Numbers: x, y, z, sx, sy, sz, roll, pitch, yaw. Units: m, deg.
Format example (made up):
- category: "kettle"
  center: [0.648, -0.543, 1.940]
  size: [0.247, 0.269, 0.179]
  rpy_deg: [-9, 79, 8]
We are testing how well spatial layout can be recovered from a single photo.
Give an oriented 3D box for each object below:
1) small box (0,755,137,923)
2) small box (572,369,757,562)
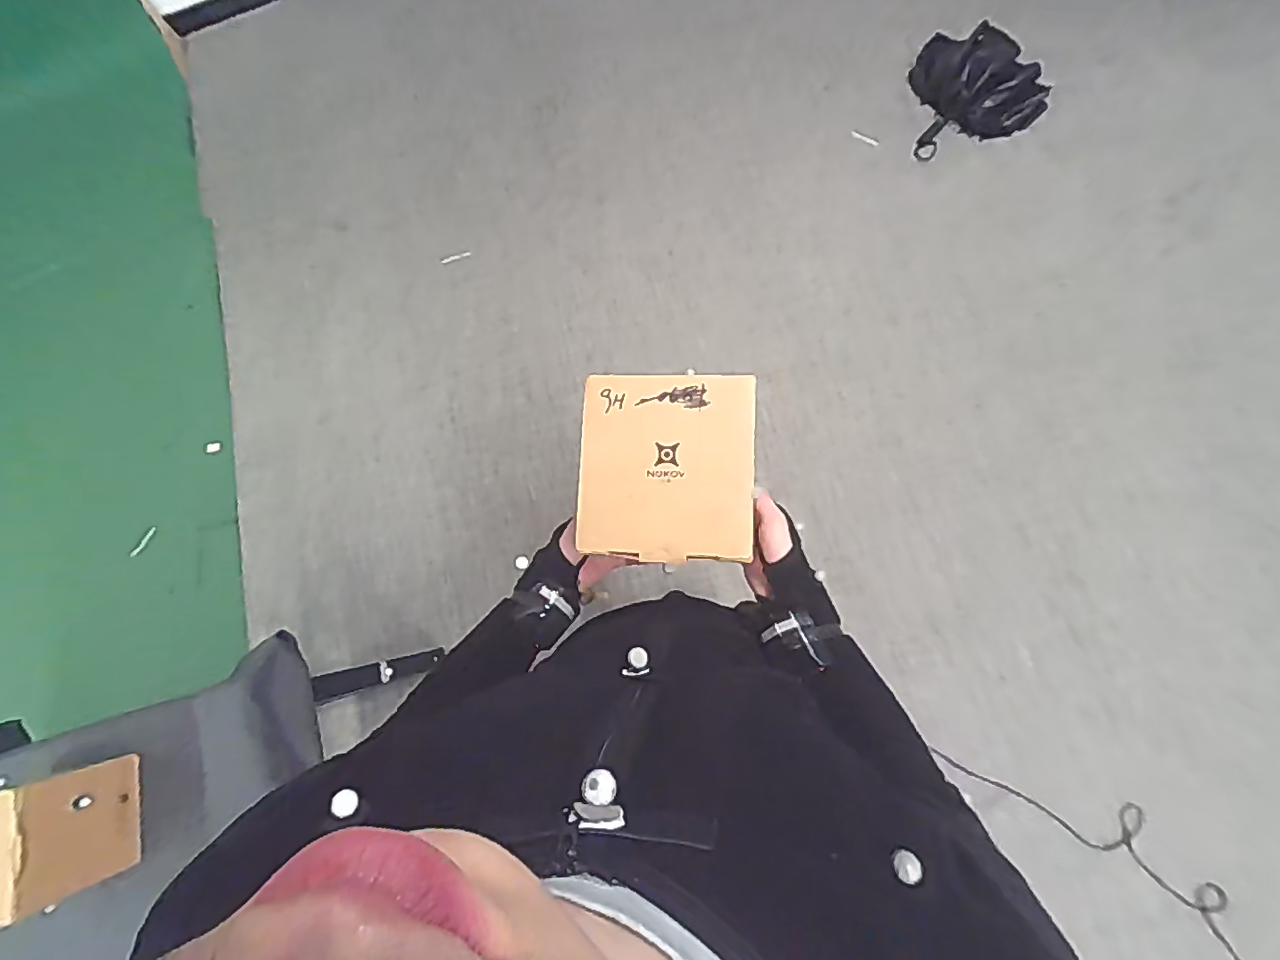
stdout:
- category: "small box"
  center: [-0.895, 0.524, 0.794]
  size: [0.179, 0.176, 0.168]
  rpy_deg: [-15, 75, 5]
- category: "small box"
  center: [0.033, -0.006, 0.576]
  size: [0.168, 0.176, 0.179]
  rpy_deg: [2, 82, 7]
